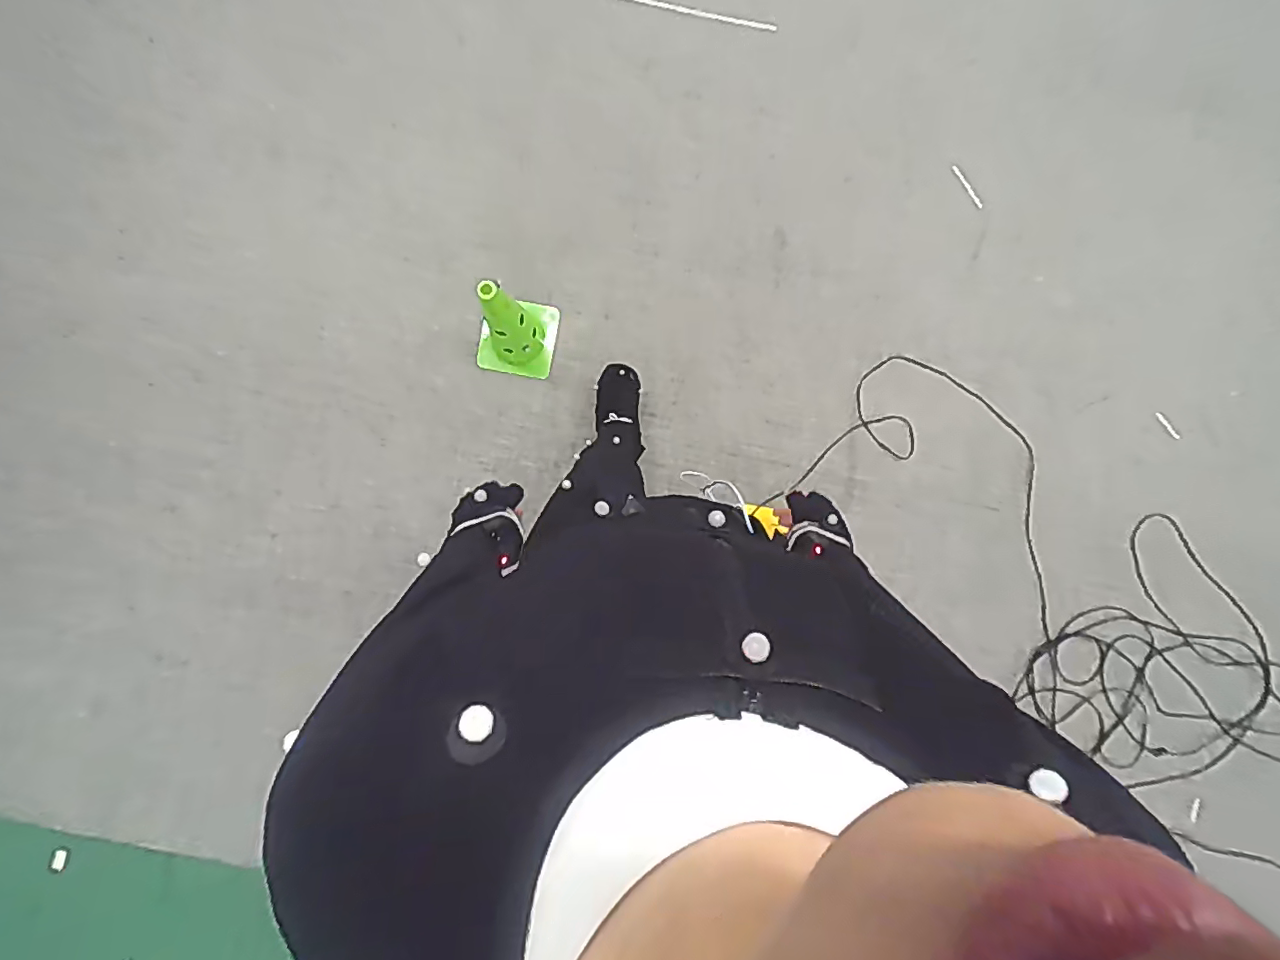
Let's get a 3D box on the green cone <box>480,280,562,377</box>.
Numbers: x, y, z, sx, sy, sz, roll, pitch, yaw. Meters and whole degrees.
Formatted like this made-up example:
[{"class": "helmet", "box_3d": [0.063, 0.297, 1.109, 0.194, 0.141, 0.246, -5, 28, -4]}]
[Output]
[{"class": "green cone", "box_3d": [-0.315, -0.391, 1.295, 0.202, 0.368, 0.200, 10, 90, -3]}]
